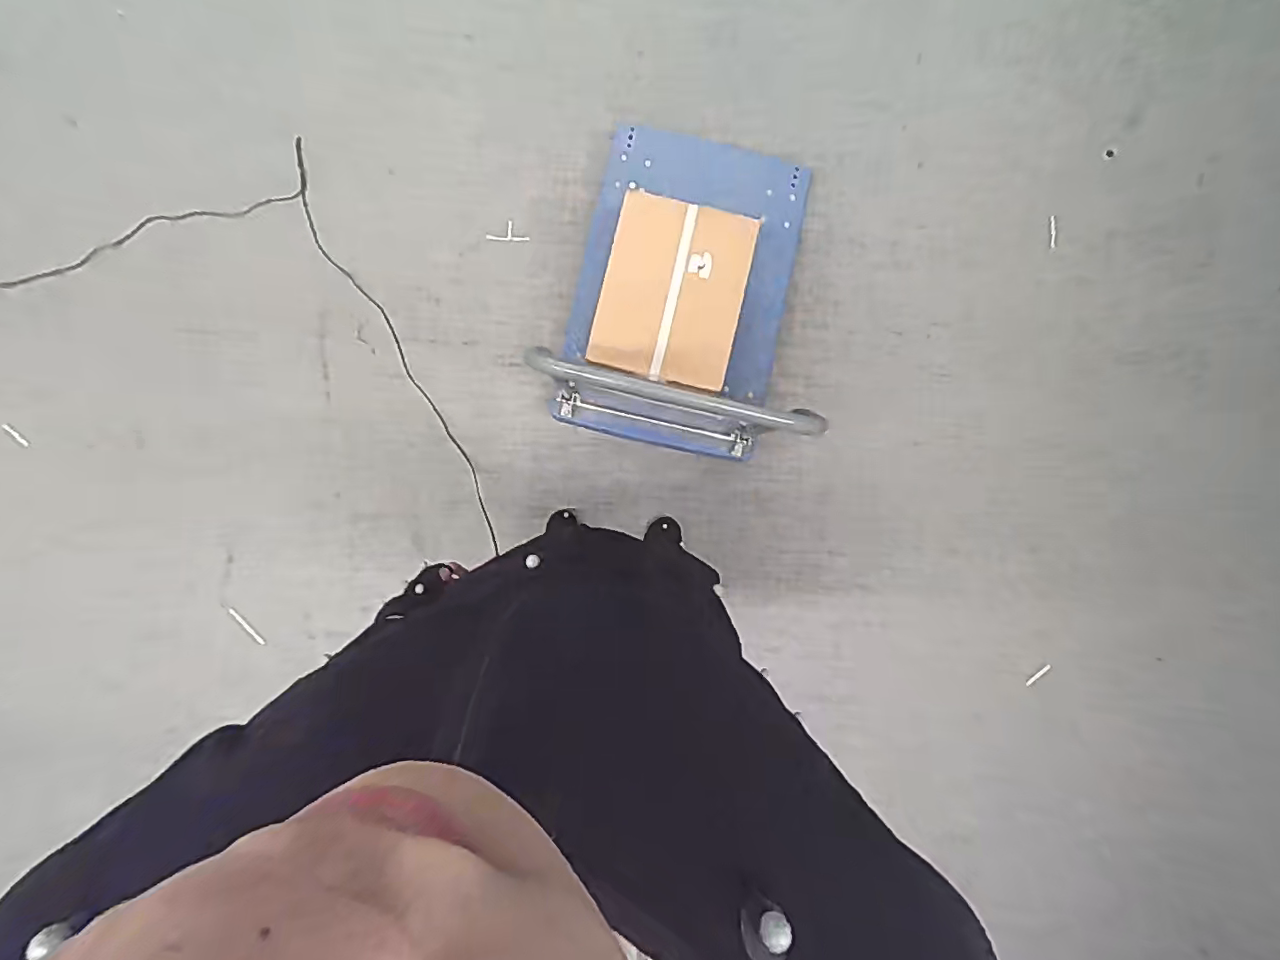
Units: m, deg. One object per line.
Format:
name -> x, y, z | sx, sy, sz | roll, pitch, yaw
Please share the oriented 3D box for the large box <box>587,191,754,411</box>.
large box -> 0.067, -0.422, 1.362 | 0.320, 0.320, 0.408 | 13, 86, -1
